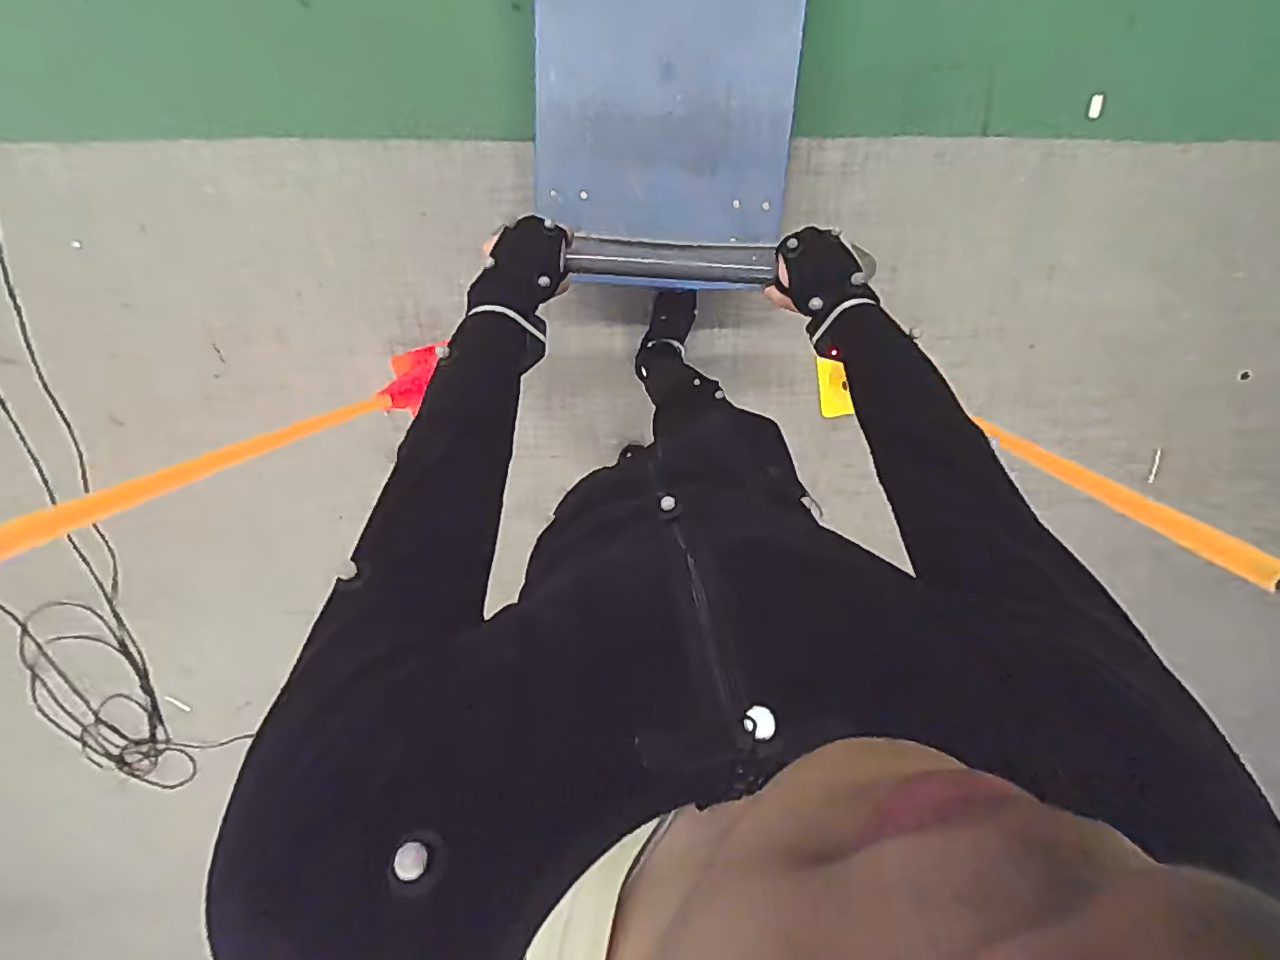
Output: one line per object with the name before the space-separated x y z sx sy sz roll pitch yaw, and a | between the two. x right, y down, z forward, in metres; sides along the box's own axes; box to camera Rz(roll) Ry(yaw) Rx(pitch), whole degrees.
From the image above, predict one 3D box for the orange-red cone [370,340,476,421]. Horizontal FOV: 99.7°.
orange-red cone | -0.577 -0.228 1.354 0.199 0.360 0.198 -14 106 5
